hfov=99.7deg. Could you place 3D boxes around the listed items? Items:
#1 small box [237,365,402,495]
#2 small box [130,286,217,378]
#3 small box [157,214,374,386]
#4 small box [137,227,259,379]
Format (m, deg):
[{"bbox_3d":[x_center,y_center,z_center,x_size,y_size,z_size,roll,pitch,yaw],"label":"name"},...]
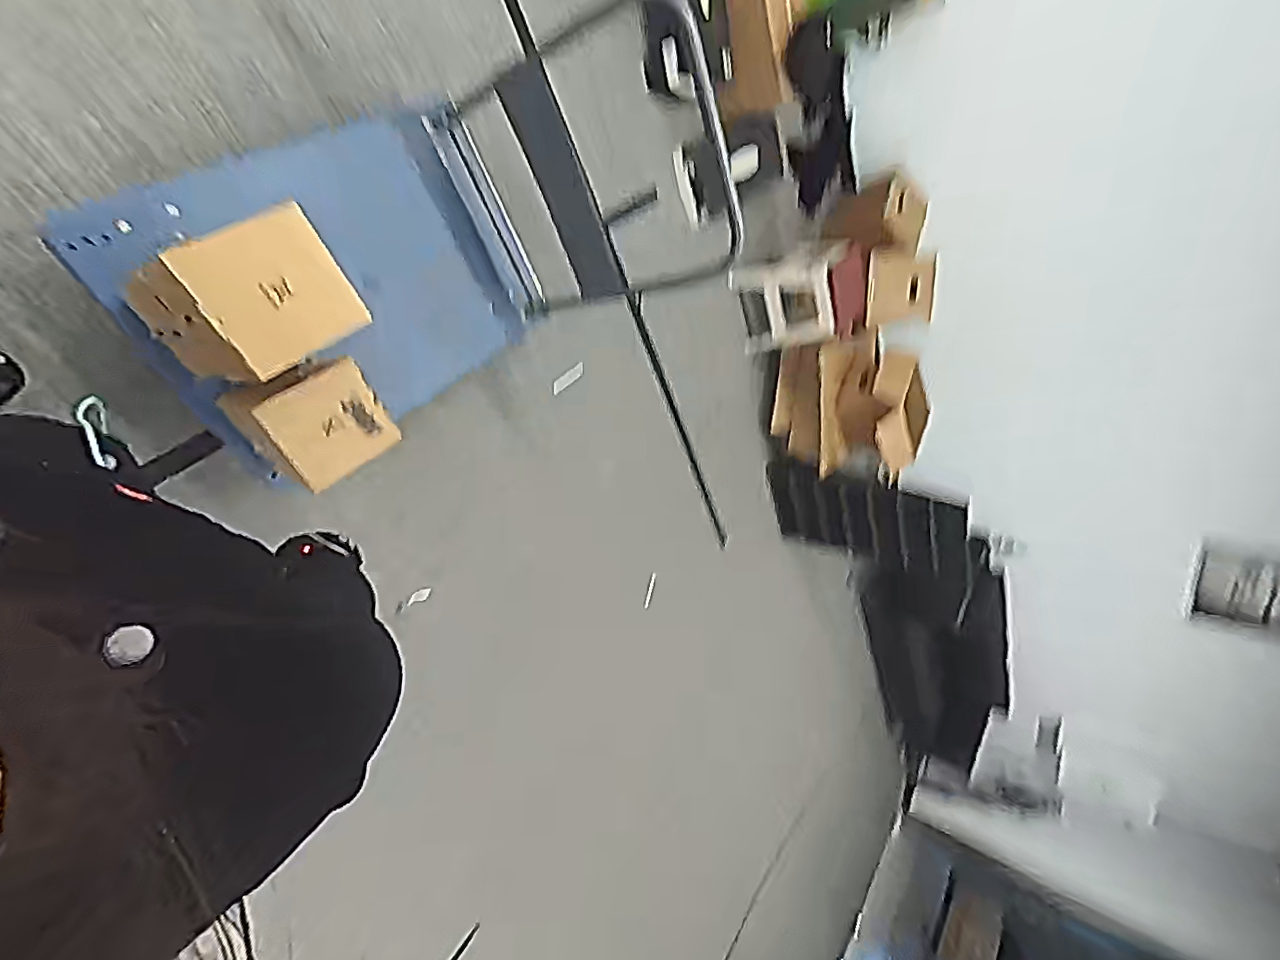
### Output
[{"bbox_3d":[-0.578,-0.098,0.977,0.179,0.176,0.168,-43,126,-32],"label":"small box"},{"bbox_3d":[-0.769,-0.296,0.980,0.179,0.176,0.168,-47,129,-31],"label":"small box"},{"bbox_3d":[-0.527,-0.249,0.763,0.179,0.176,0.168,-46,128,-31],"label":"small box"},{"bbox_3d":[-0.651,-0.275,0.866,0.179,0.176,0.168,-48,129,-29],"label":"small box"}]
